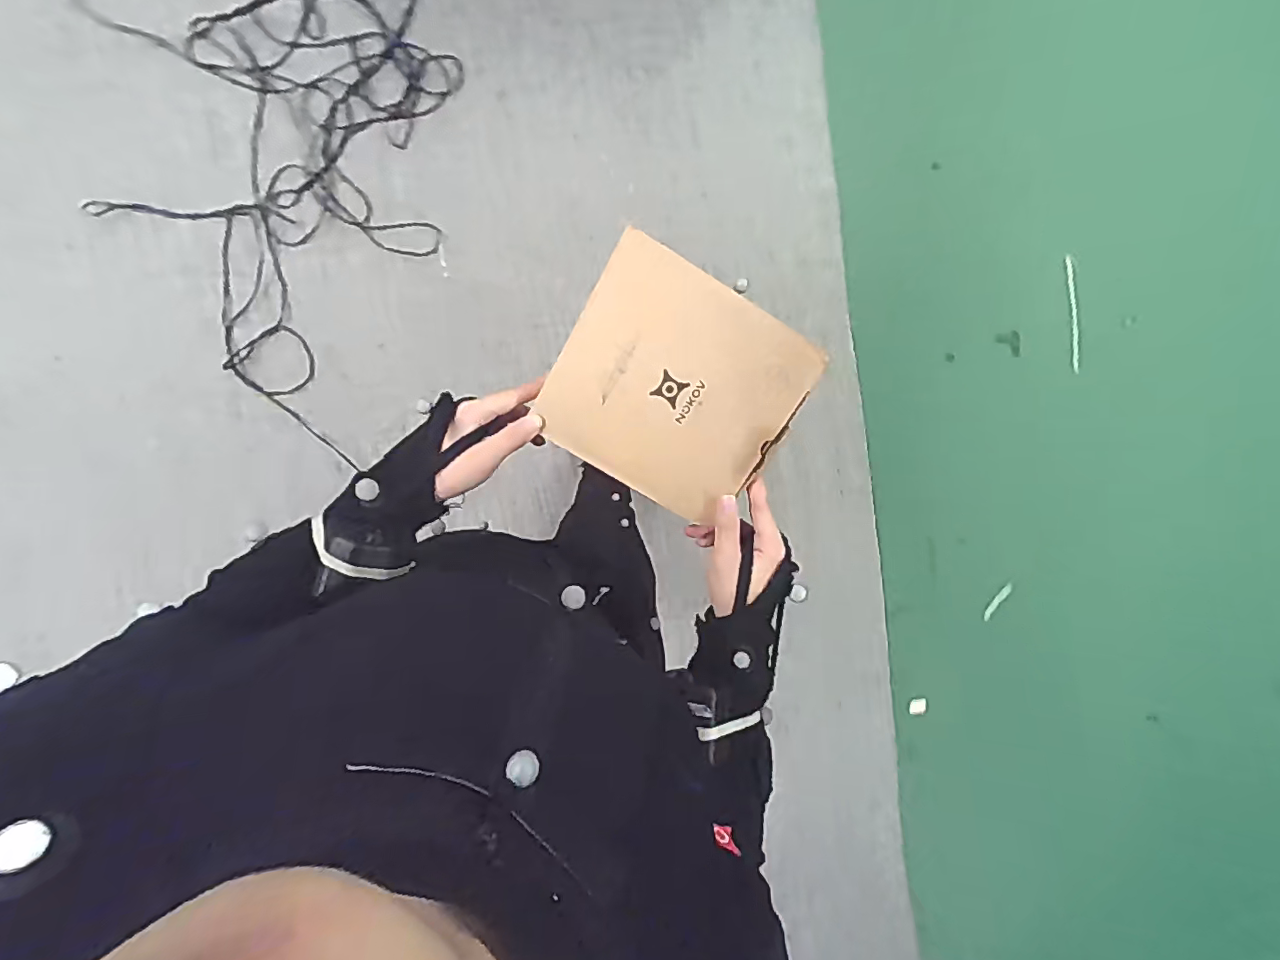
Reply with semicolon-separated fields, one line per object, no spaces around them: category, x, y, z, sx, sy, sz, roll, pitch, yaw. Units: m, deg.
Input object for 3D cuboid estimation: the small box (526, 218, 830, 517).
small box;0.029;-0.100;0.479;0.179;0.176;0.168;29;106;-6
